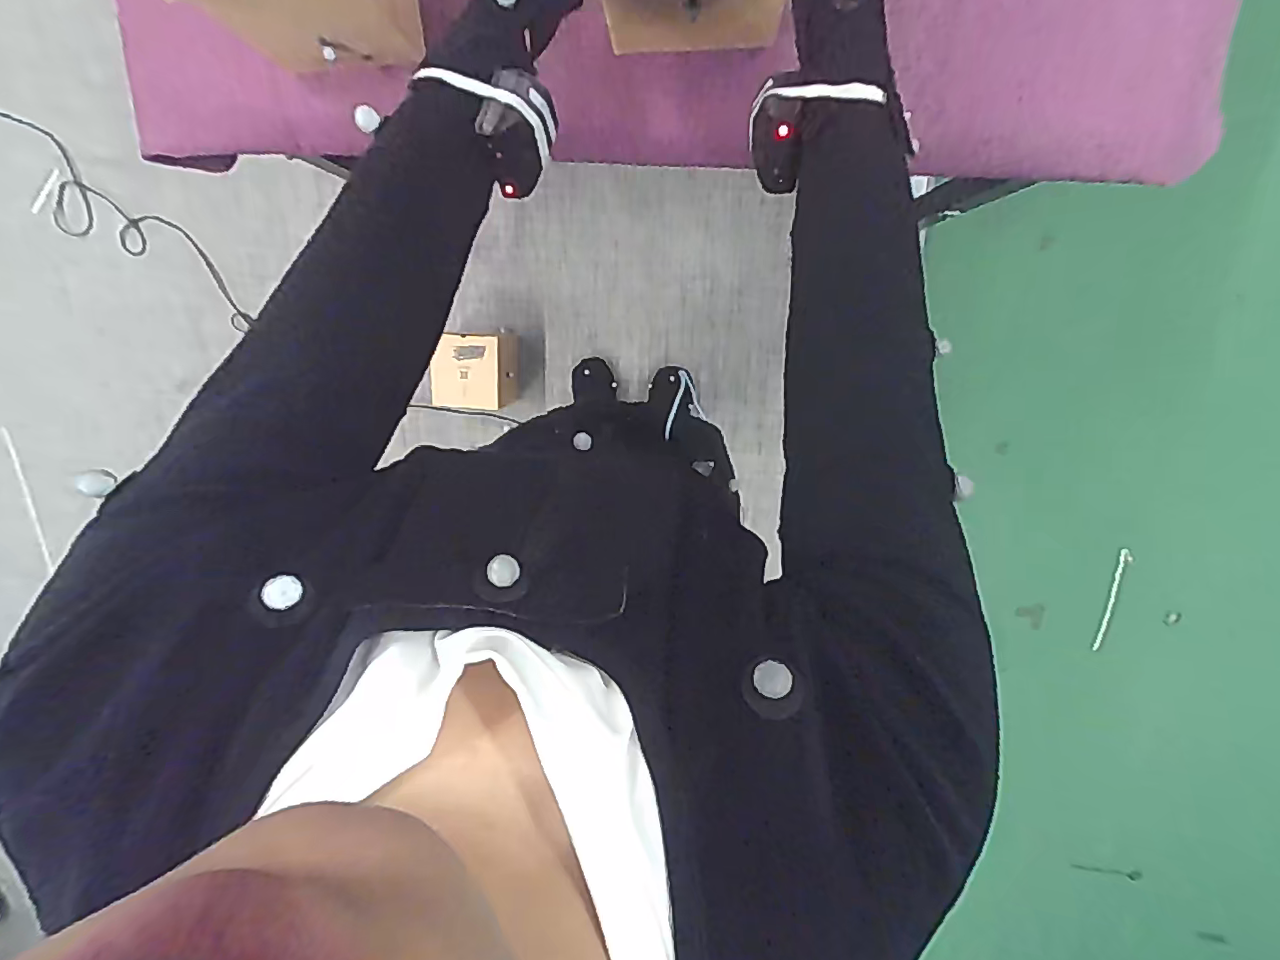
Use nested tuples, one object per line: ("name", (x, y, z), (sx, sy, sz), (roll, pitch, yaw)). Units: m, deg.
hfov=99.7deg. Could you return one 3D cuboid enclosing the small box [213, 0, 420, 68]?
("small box", (-0.334, -0.541, 0.521), (0.168, 0.176, 0.179), (-2, 104, 3))
